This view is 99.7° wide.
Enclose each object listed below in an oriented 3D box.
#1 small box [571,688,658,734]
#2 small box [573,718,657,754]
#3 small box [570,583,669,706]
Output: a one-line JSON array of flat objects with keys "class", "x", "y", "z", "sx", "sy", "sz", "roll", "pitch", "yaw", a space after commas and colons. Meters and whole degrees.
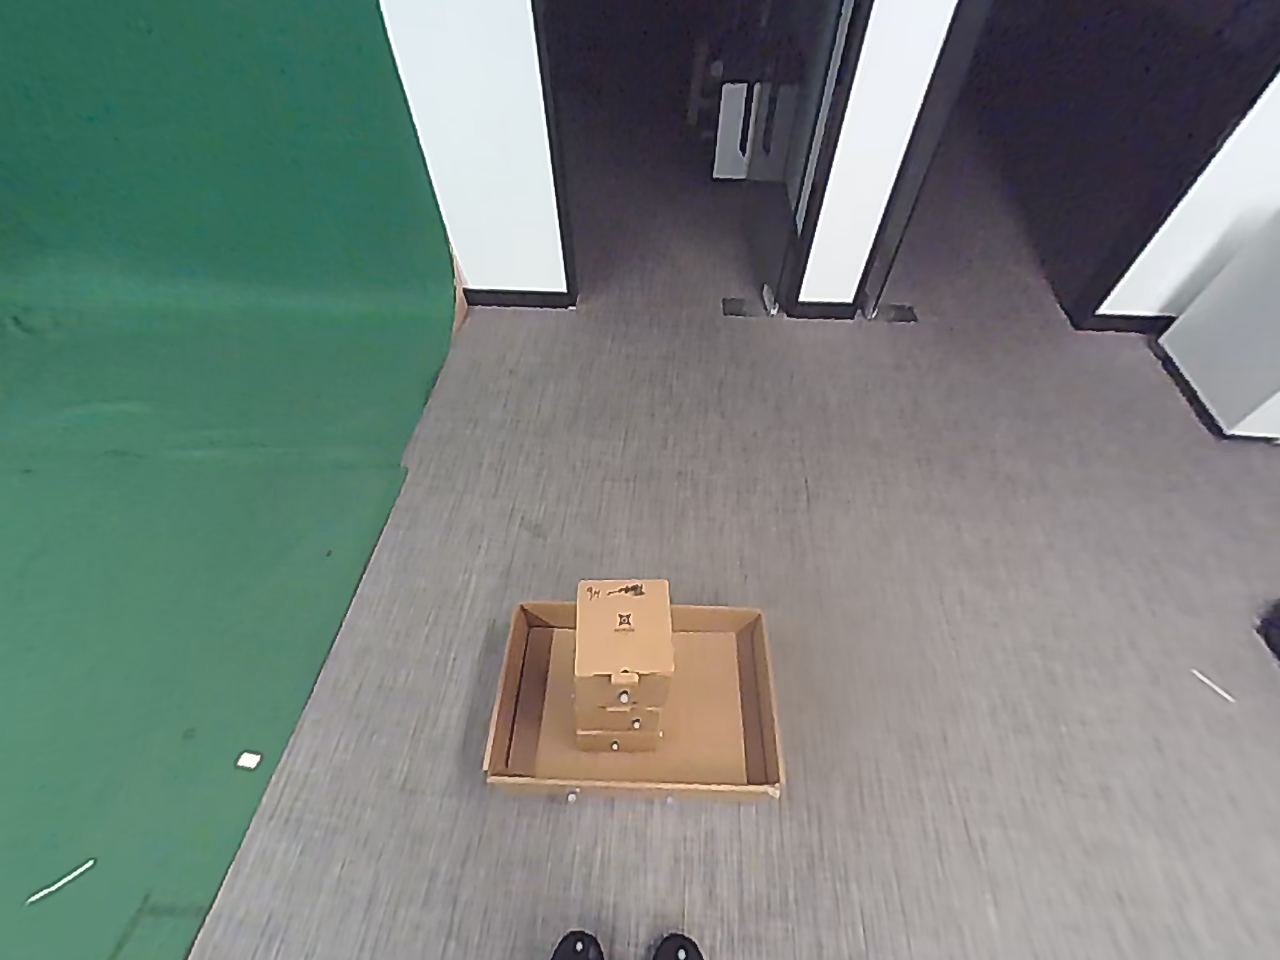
[{"class": "small box", "x": -0.046, "y": 0.411, "z": 1.116, "sx": 0.168, "sy": 0.176, "sz": 0.179, "roll": 3, "pitch": 50, "yaw": -1}, {"class": "small box", "x": -0.052, "y": 0.519, "z": 1.235, "sx": 0.179, "sy": 0.176, "sz": 0.168, "roll": 0, "pitch": 51, "yaw": 1}, {"class": "small box", "x": -0.034, "y": 0.305, "z": 0.992, "sx": 0.168, "sy": 0.176, "sz": 0.179, "roll": 1, "pitch": 52, "yaw": -2}]
